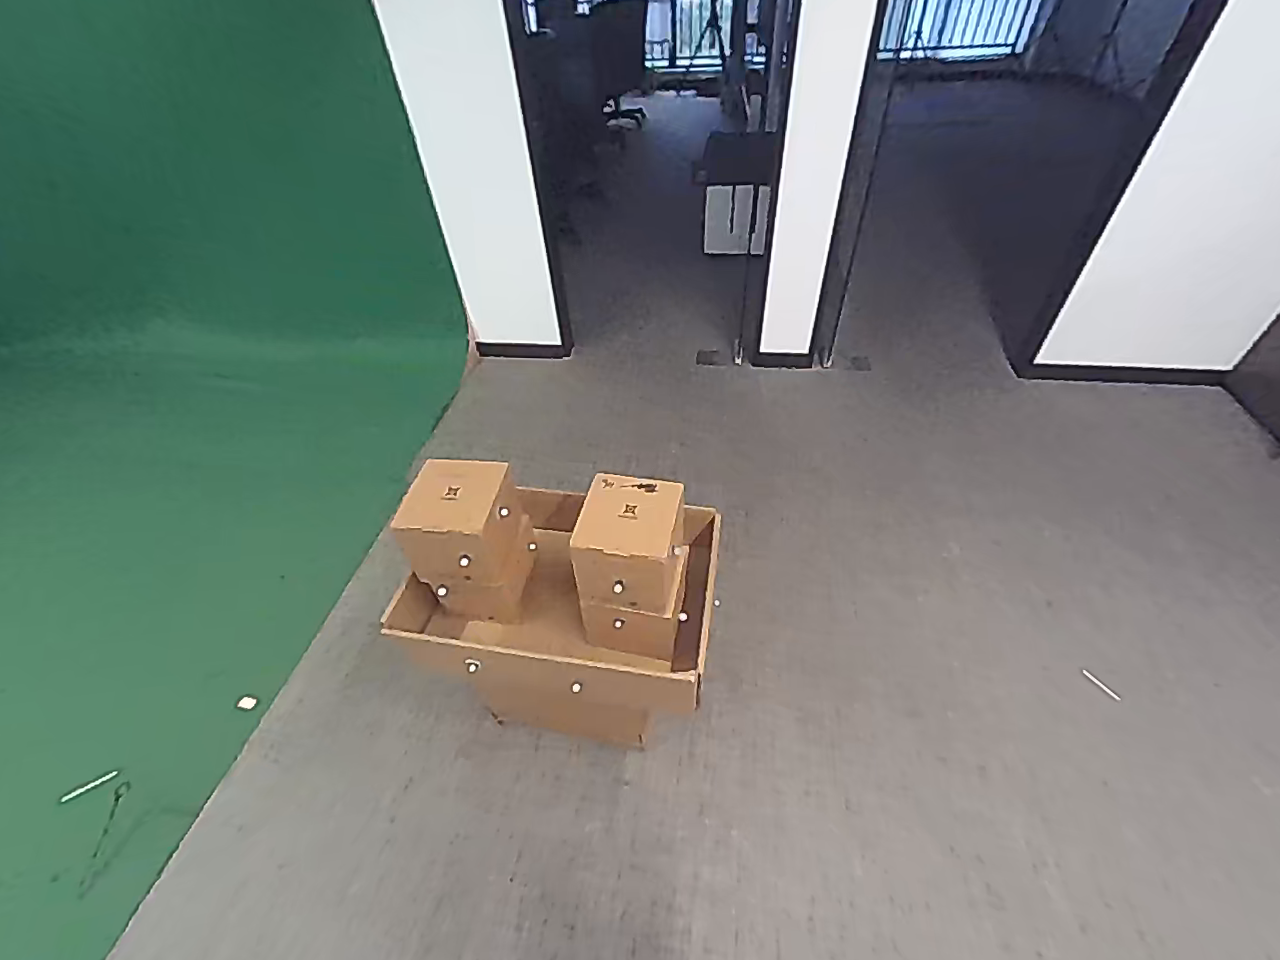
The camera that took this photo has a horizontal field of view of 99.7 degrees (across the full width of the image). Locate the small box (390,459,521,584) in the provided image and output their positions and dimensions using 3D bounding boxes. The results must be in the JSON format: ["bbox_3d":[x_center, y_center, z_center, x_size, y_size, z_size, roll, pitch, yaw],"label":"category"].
[{"bbox_3d":[-0.338,0.080,1.034,0.168,0.176,0.179,3,45,6],"label":"small box"}]

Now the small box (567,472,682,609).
[{"bbox_3d":[-0.018,0.112,0.980,0.168,0.176,0.179,8,47,10],"label":"small box"}]
